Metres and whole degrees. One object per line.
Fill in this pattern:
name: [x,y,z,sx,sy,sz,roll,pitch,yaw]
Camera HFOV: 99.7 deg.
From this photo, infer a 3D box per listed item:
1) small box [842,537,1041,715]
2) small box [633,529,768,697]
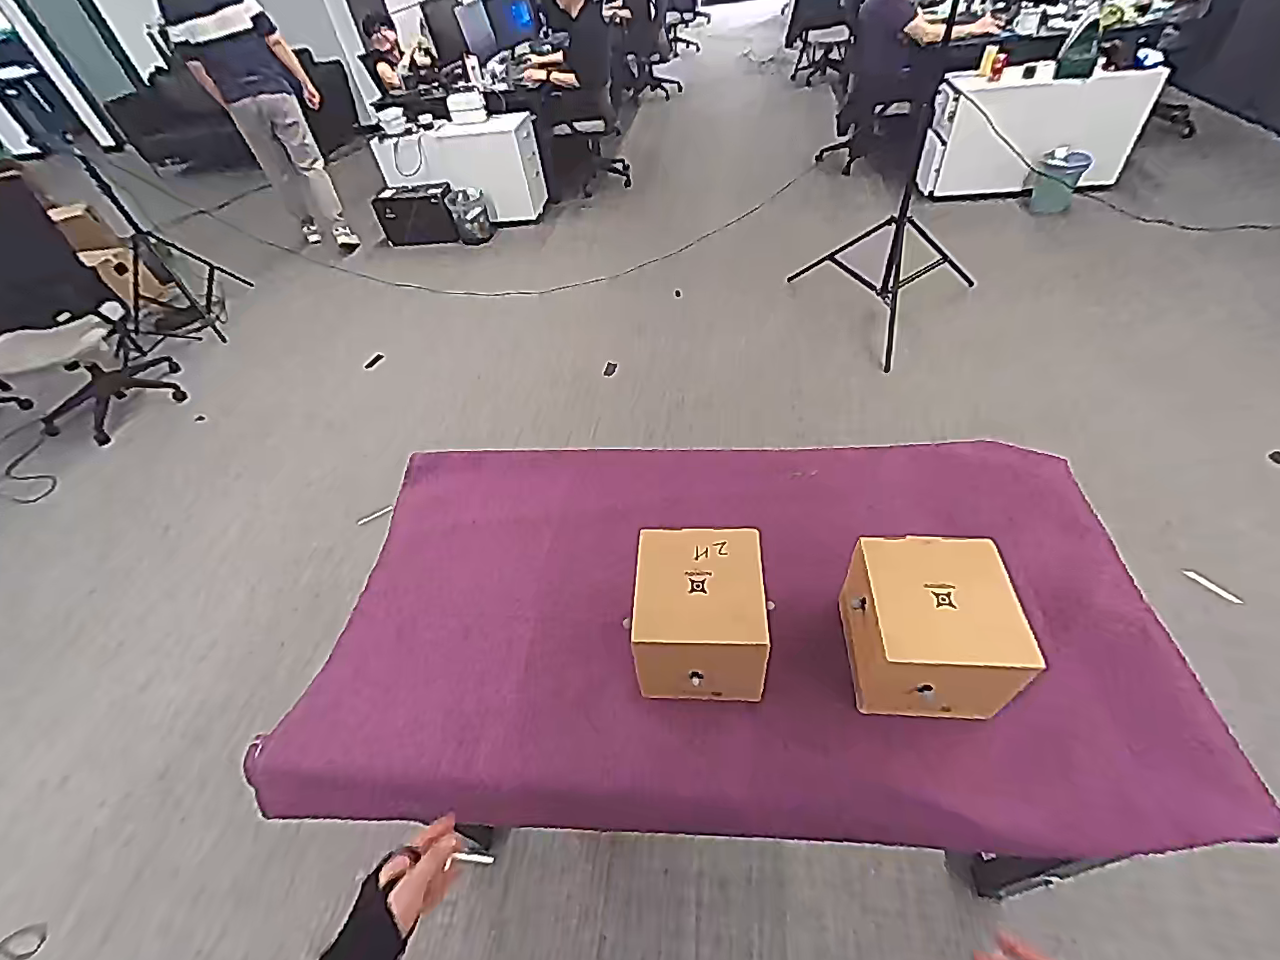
small box: [0.374,0.194,0.712,0.168,0.176,0.179,-1,47,8]
small box: [0.086,0.187,0.757,0.168,0.176,0.179,0,45,6]
